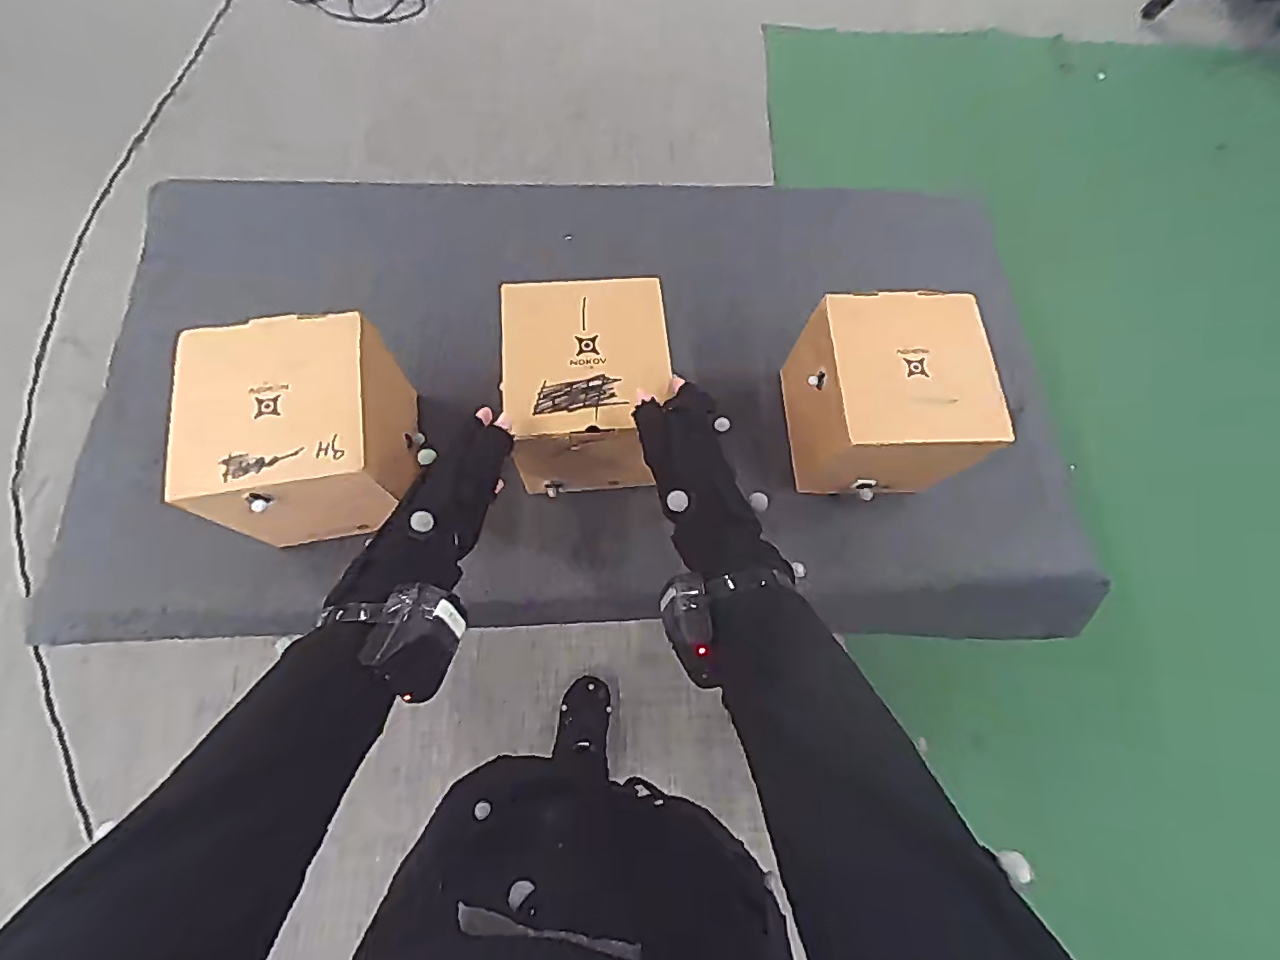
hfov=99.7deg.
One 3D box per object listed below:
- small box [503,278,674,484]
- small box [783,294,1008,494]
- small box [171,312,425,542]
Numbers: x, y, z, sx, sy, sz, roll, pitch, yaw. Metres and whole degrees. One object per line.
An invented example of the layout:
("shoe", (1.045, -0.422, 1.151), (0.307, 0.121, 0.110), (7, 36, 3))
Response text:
("small box", (-0.057, -0.099, 0.612), (0.168, 0.176, 0.179), (-4, 70, -5))
("small box", (0.275, -0.092, 0.629), (0.168, 0.176, 0.179), (-2, 72, -2))
("small box", (-0.340, -0.049, 0.576), (0.168, 0.176, 0.179), (-9, 70, -5))
